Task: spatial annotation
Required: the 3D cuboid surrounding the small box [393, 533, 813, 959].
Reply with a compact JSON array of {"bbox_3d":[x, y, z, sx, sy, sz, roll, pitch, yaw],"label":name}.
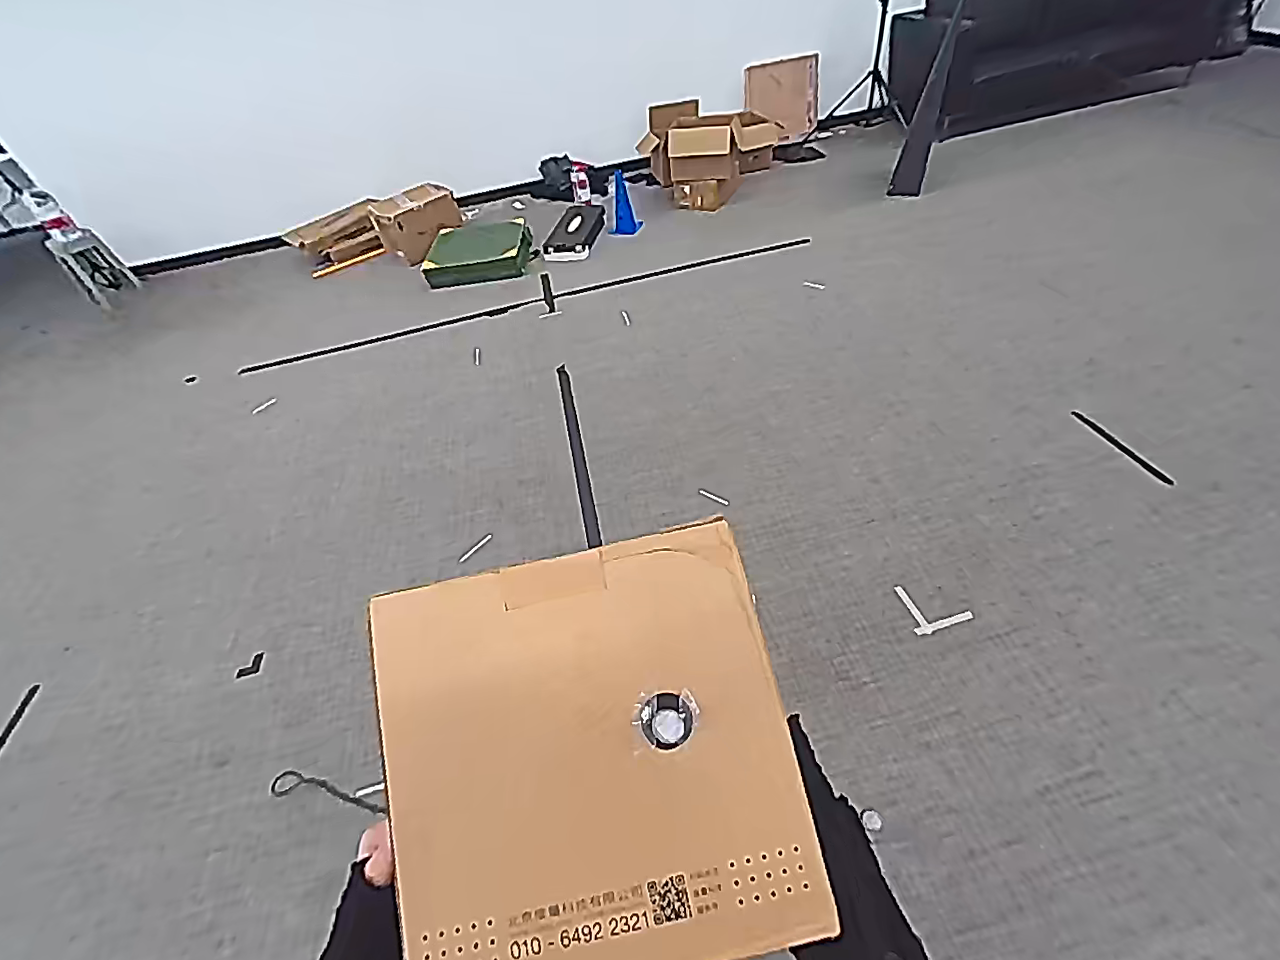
[{"bbox_3d":[-0.016,0.140,0.318,0.168,0.179,0.176,-13,77,0],"label":"small box"}]
